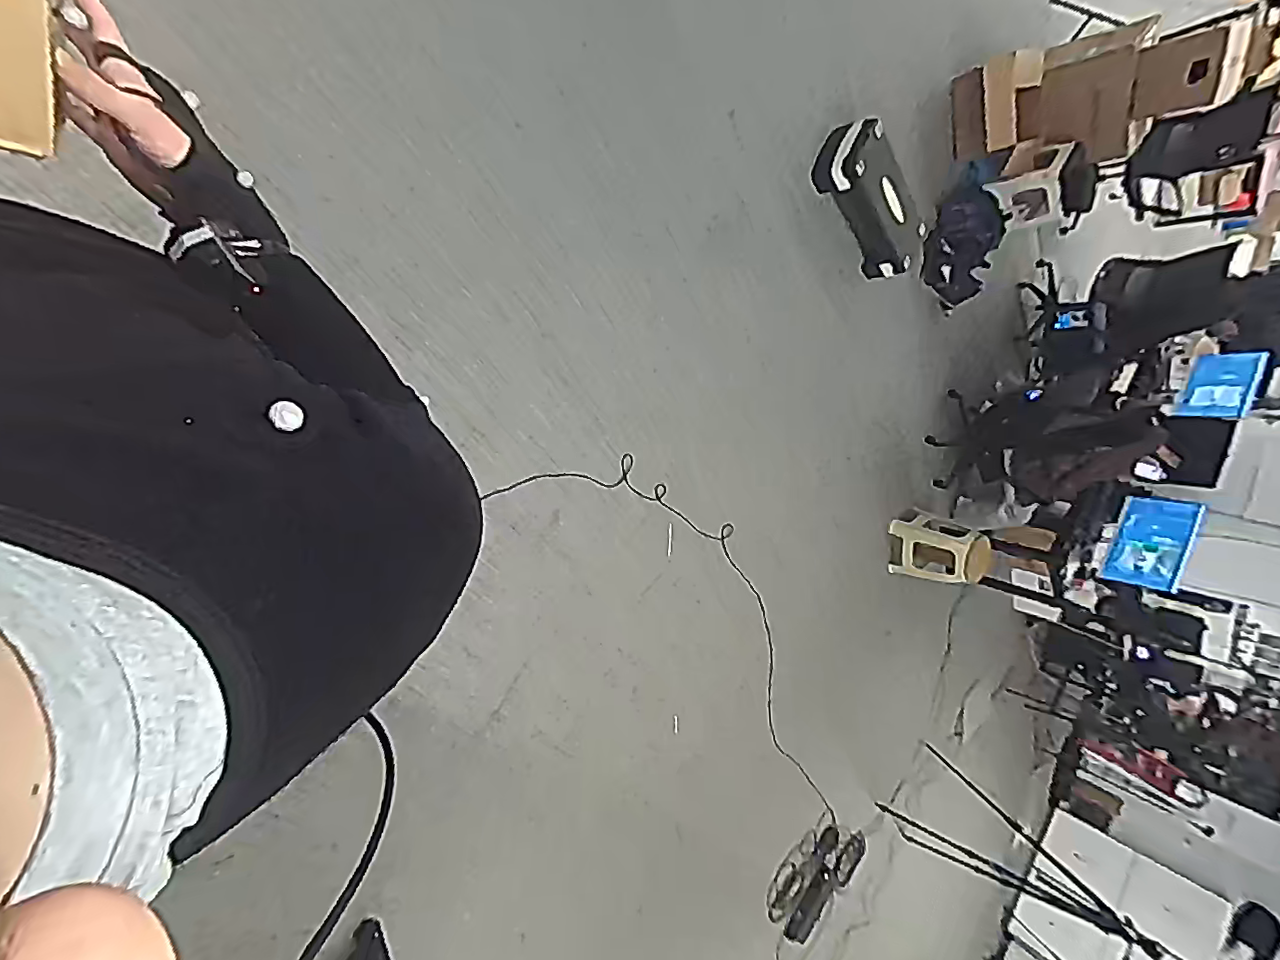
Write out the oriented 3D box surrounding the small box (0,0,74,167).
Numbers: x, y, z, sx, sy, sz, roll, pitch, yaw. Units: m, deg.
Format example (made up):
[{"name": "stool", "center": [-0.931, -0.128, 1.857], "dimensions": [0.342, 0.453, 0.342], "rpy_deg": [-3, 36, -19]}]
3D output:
[{"name": "small box", "center": [-0.440, -0.318, 0.302], "dimensions": [0.168, 0.176, 0.179], "rpy_deg": [-2, 129, -45]}]
